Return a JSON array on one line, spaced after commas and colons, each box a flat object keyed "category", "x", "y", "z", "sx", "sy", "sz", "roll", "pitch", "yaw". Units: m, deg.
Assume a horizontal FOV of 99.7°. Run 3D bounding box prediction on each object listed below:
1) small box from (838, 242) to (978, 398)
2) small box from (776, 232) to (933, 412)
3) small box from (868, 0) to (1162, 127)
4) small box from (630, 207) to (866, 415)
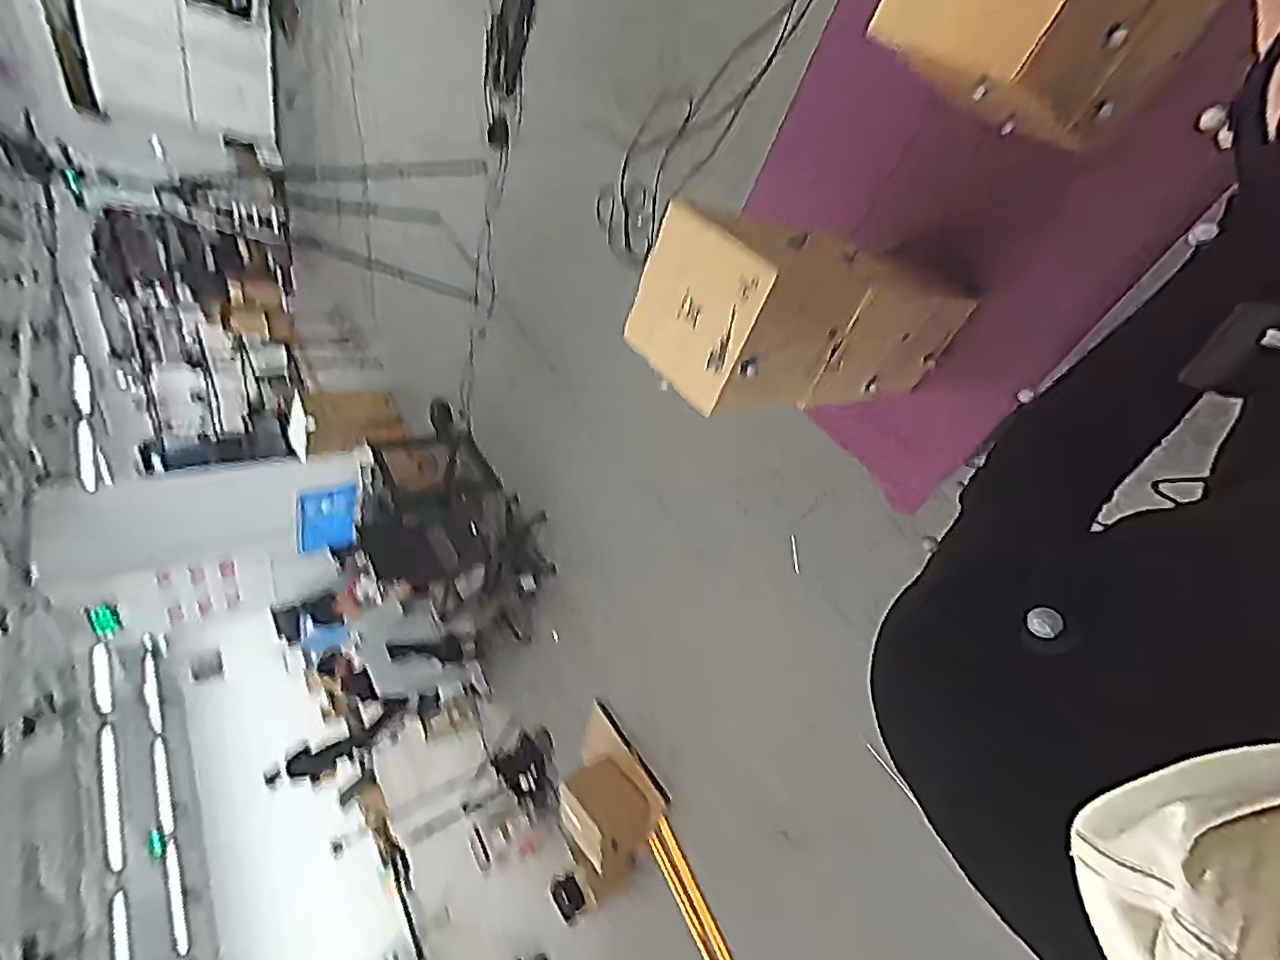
[{"category": "small box", "x": 0.373, "y": -0.245, "z": 0.843, "sx": 0.179, "sy": 0.176, "sz": 0.168, "roll": 50, "pitch": 134, "yaw": 31}, {"category": "small box", "x": 0.252, "y": -0.214, "z": 0.737, "sx": 0.179, "sy": 0.176, "sz": 0.168, "roll": 51, "pitch": 135, "yaw": 32}, {"category": "small box", "x": 0.372, "y": -0.474, "z": 0.525, "sx": 0.179, "sy": 0.176, "sz": 0.168, "roll": 50, "pitch": 134, "yaw": 31}, {"category": "small box", "x": 0.122, "y": -0.195, "z": 0.640, "sx": 0.179, "sy": 0.176, "sz": 0.168, "roll": 50, "pitch": 135, "yaw": 32}]
